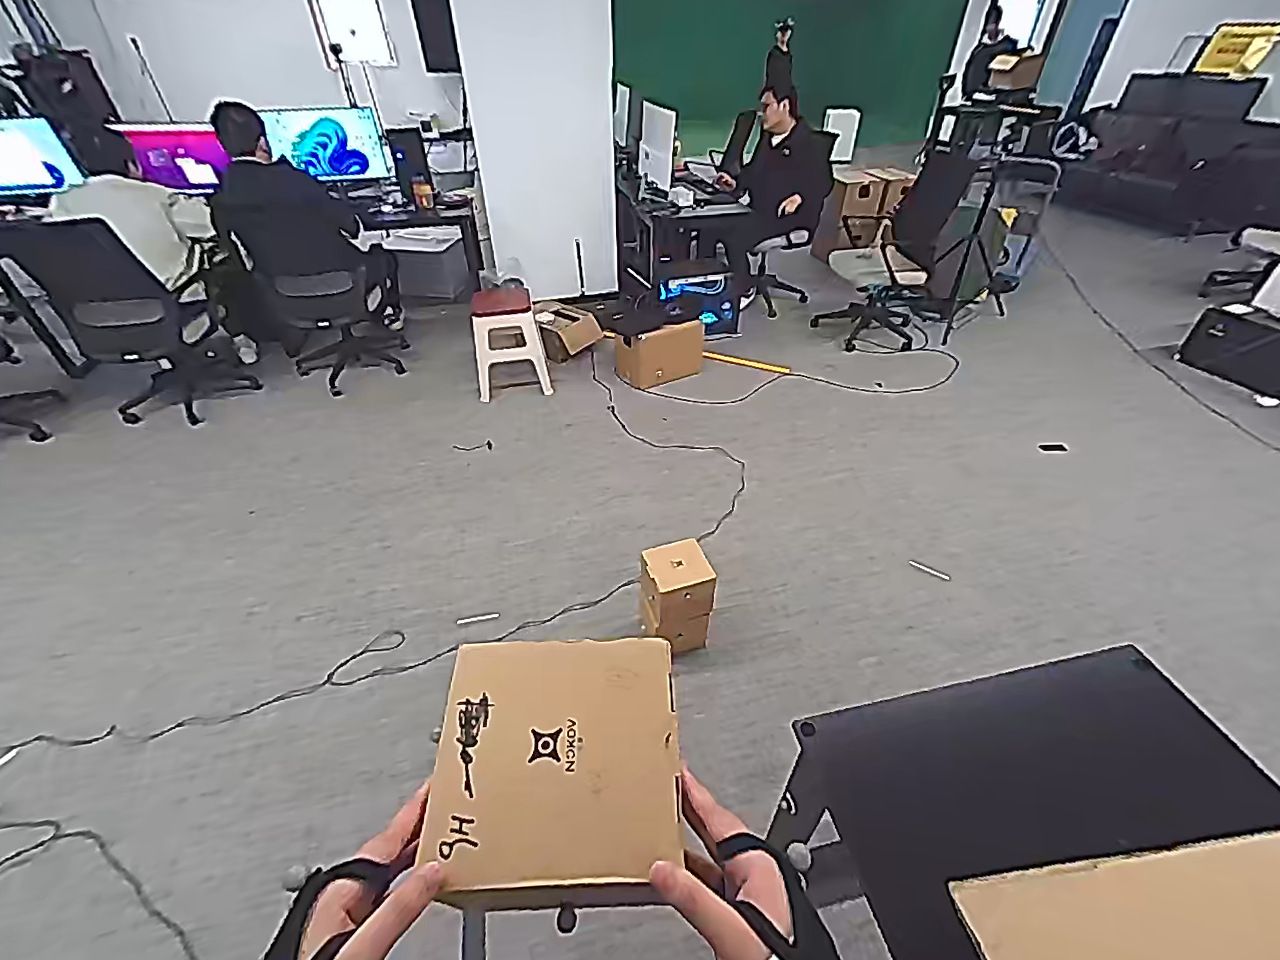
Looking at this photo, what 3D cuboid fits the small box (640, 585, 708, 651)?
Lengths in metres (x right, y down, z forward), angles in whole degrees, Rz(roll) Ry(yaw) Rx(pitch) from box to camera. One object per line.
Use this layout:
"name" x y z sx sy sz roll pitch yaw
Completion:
"small box" 0.104 0.435 1.733 0.179 0.176 0.168 -12 41 -12

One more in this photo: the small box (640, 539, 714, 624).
"small box" 0.108 0.308 1.630 0.179 0.176 0.168 -12 42 -15

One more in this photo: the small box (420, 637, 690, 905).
"small box" -0.059 0.248 0.460 0.179 0.176 0.168 0 47 -3
